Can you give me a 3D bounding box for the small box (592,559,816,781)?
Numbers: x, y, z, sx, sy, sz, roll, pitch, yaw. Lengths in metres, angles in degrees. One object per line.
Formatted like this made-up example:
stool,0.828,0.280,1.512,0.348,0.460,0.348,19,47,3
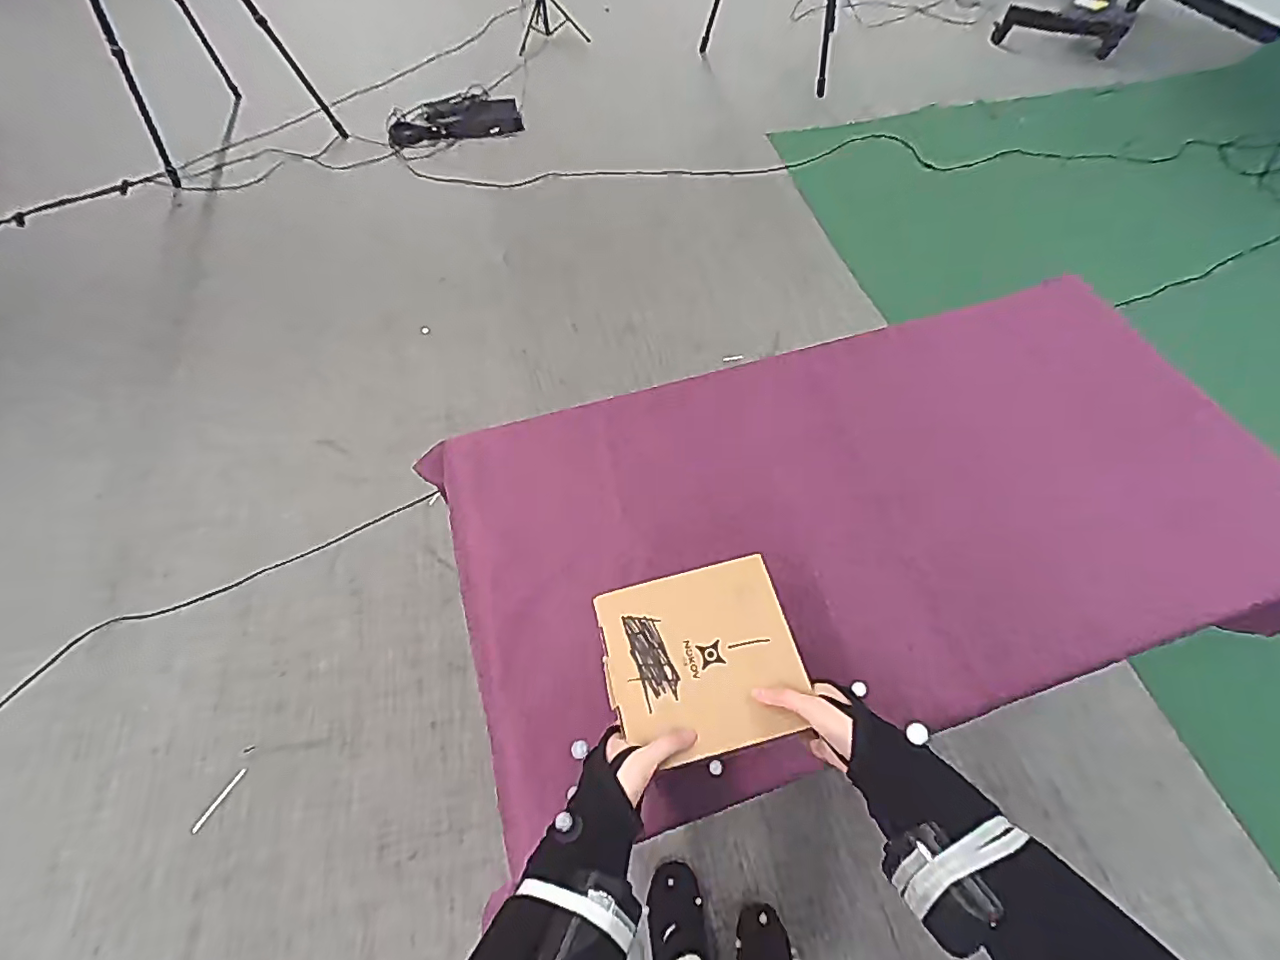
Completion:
small box,0.060,0.209,0.575,0.179,0.176,0.168,-14,60,-4
